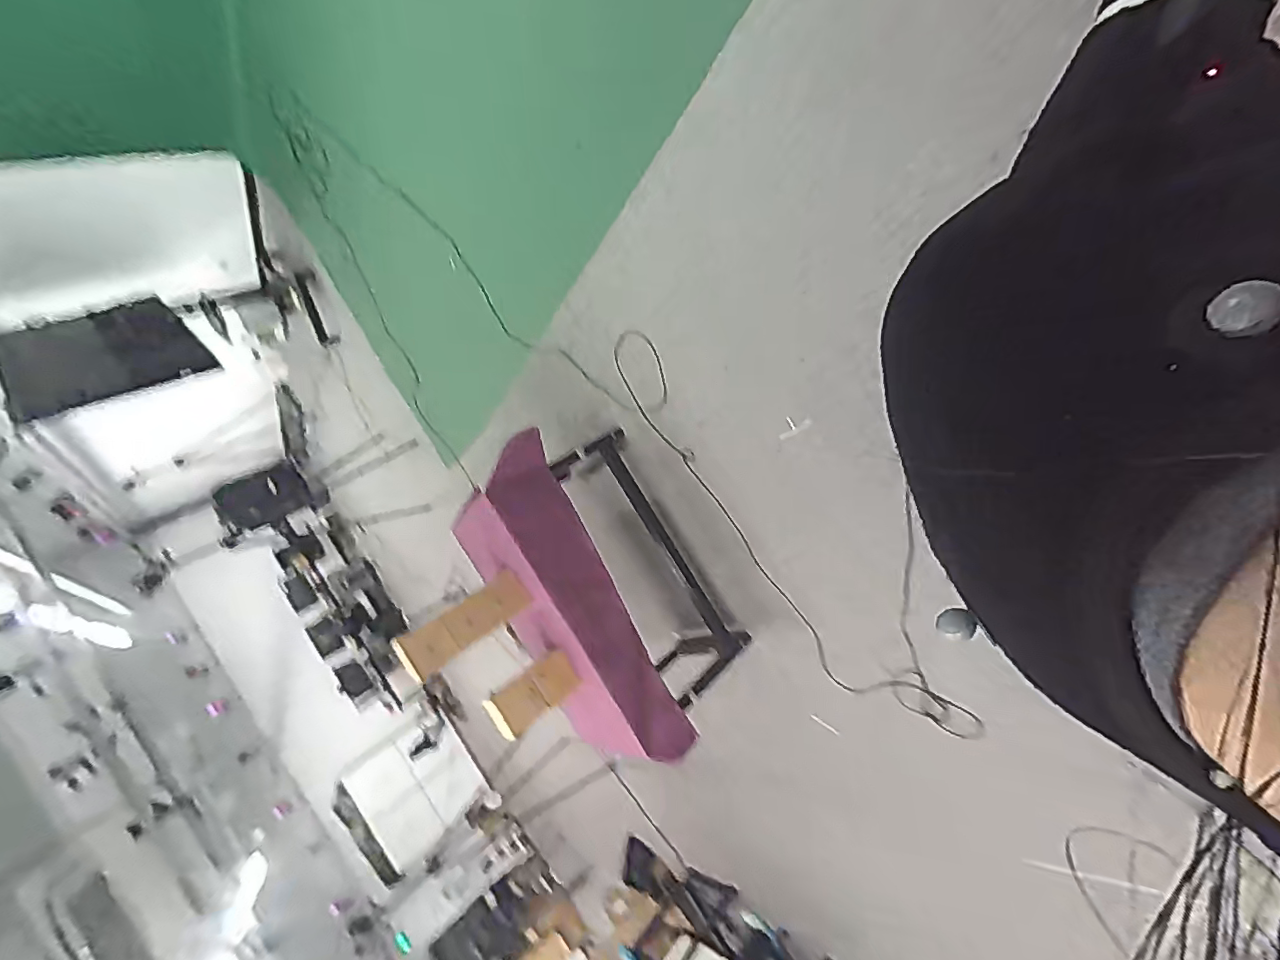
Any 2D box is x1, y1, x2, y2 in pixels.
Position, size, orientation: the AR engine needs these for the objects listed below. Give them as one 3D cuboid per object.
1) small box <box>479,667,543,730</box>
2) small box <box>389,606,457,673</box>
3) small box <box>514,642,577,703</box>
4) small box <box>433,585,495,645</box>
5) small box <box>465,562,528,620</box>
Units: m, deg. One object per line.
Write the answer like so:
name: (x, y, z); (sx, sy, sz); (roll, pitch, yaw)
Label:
small box: (-0.511, 0.863, 2.151); (0.168, 0.176, 0.179); (58, 145, 1)
small box: (-0.821, 0.605, 2.048); (0.179, 0.176, 0.168); (57, 143, 0)
small box: (-0.390, 0.798, 2.243); (0.179, 0.176, 0.168); (58, 145, 2)
small box: (-0.706, 0.533, 2.141); (0.179, 0.176, 0.168); (58, 144, 0)
small box: (-0.592, 0.463, 2.236); (0.168, 0.176, 0.179); (-30, 91, 54)
